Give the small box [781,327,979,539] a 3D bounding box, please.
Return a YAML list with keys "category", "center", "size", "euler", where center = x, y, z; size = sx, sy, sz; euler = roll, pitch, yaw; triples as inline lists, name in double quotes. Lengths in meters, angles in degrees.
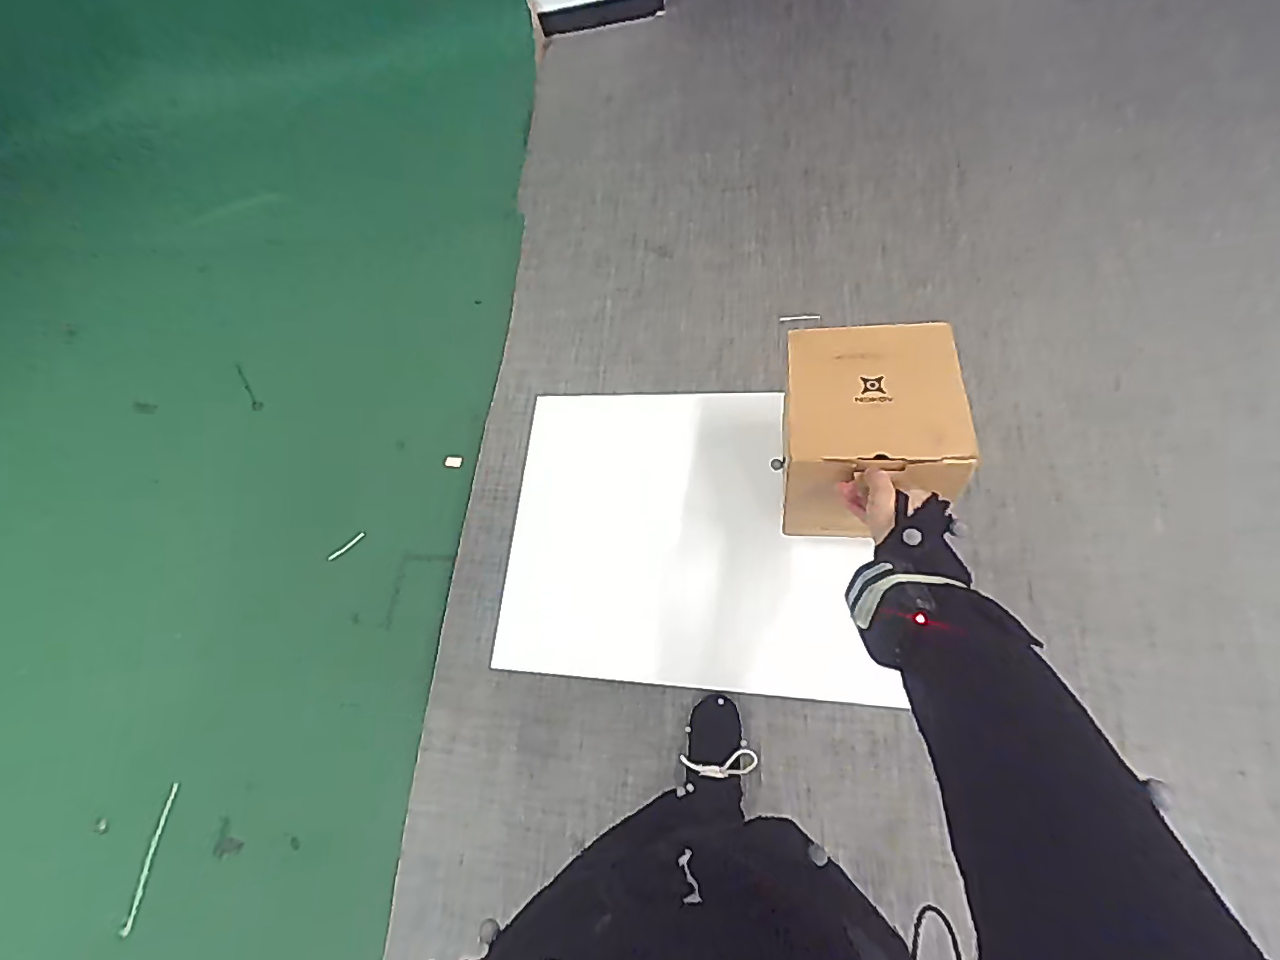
- category: "small box"
  center: [0.248, -0.045, 0.606]
  size: [0.168, 0.176, 0.179]
  euler: [1, 58, 12]
